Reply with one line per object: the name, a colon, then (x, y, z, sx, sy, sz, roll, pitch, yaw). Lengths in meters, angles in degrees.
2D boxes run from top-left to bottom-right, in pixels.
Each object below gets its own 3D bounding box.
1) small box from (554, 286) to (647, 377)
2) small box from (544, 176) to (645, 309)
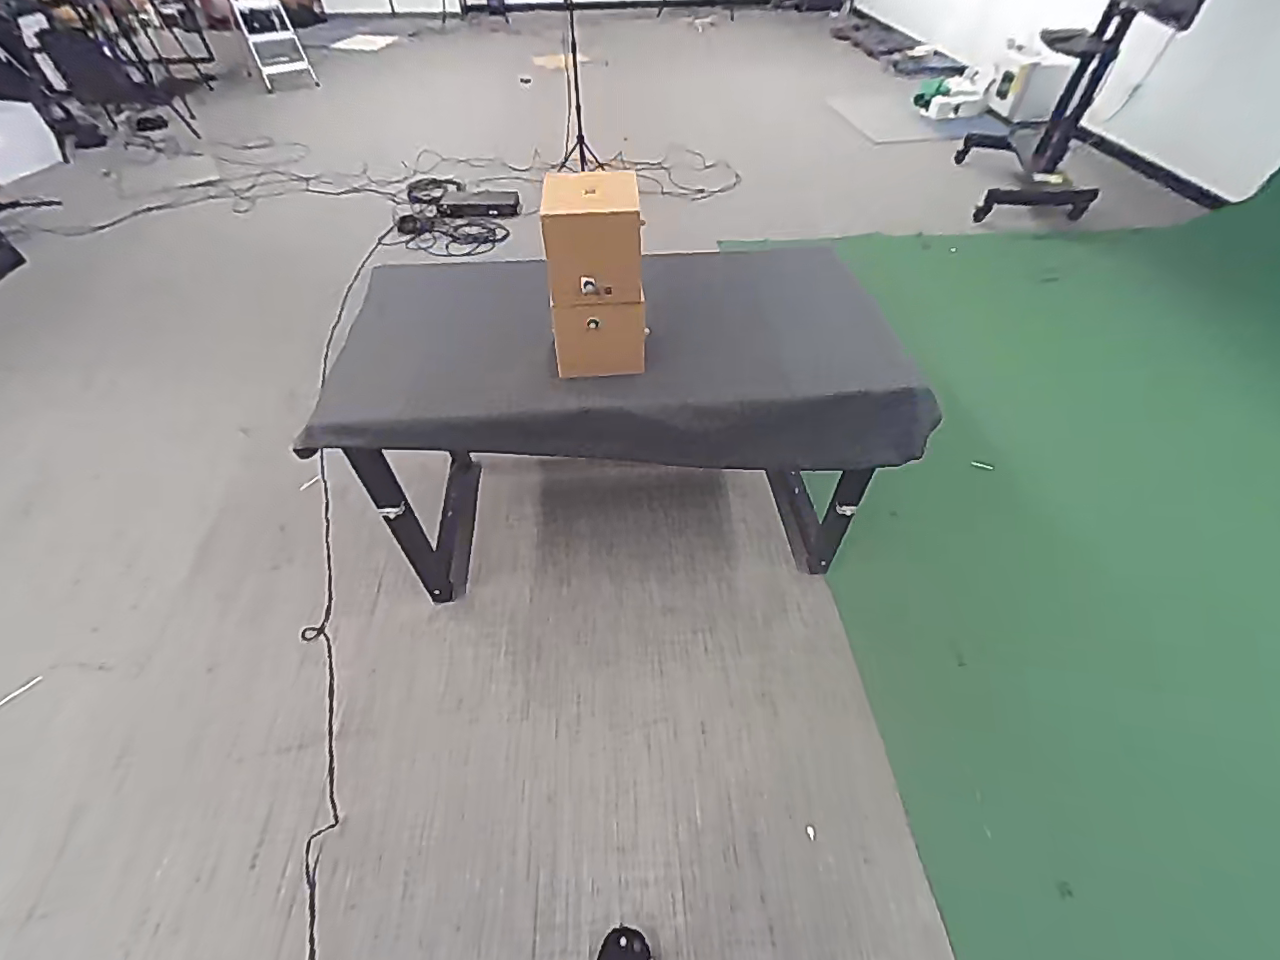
small box: (-0.079, -0.325, 1.113, 0.179, 0.176, 0.168, -4, 49, -4)
small box: (-0.078, -0.435, 0.994, 0.168, 0.176, 0.179, -5, 50, -1)
